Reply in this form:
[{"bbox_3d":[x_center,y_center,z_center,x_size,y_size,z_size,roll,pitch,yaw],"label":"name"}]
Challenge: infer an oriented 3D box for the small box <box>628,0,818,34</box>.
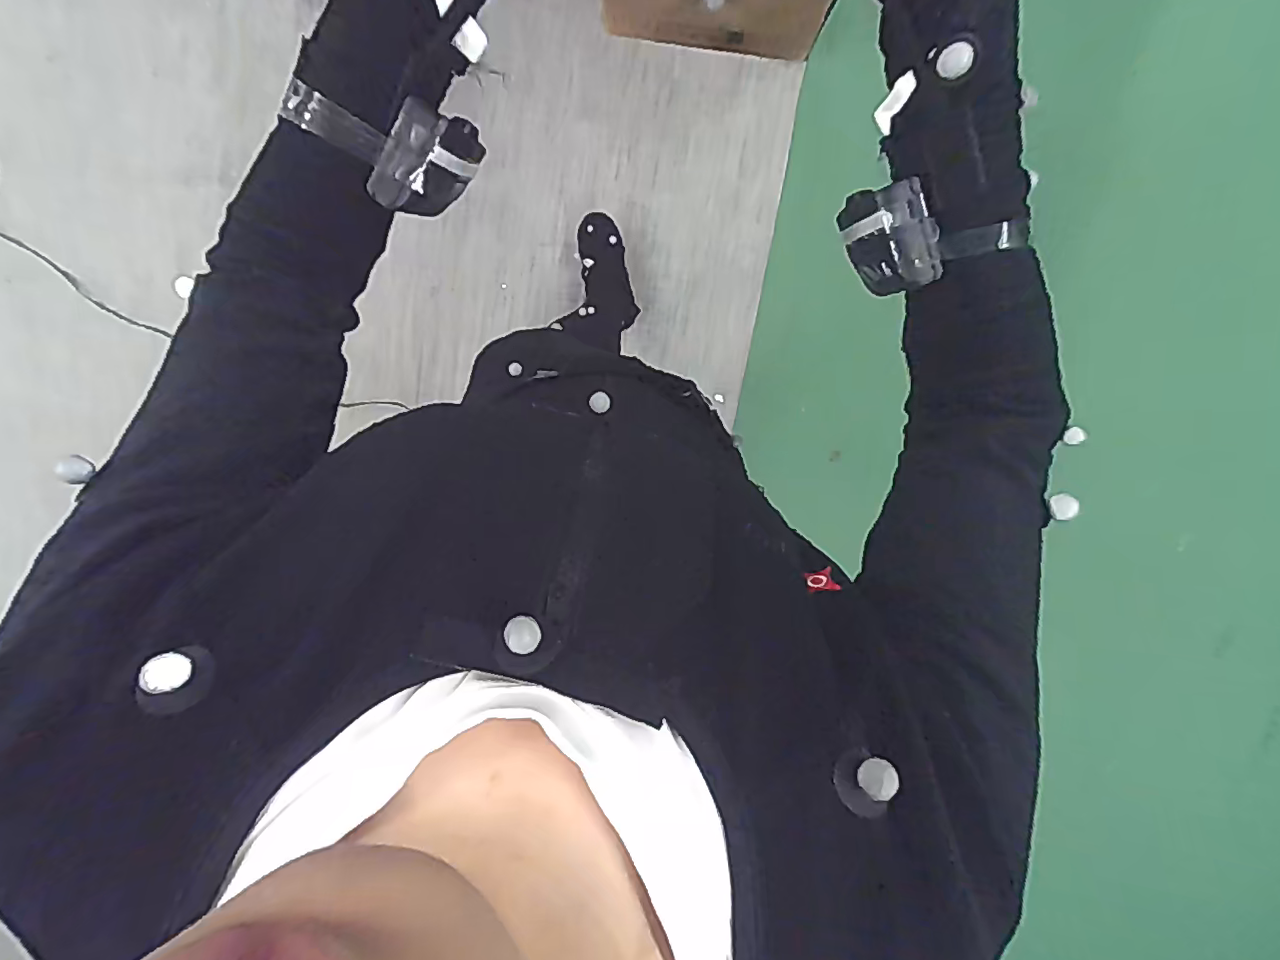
[{"bbox_3d":[0.062,-0.432,0.342,0.168,0.176,0.179,7,101,0],"label":"small box"}]
